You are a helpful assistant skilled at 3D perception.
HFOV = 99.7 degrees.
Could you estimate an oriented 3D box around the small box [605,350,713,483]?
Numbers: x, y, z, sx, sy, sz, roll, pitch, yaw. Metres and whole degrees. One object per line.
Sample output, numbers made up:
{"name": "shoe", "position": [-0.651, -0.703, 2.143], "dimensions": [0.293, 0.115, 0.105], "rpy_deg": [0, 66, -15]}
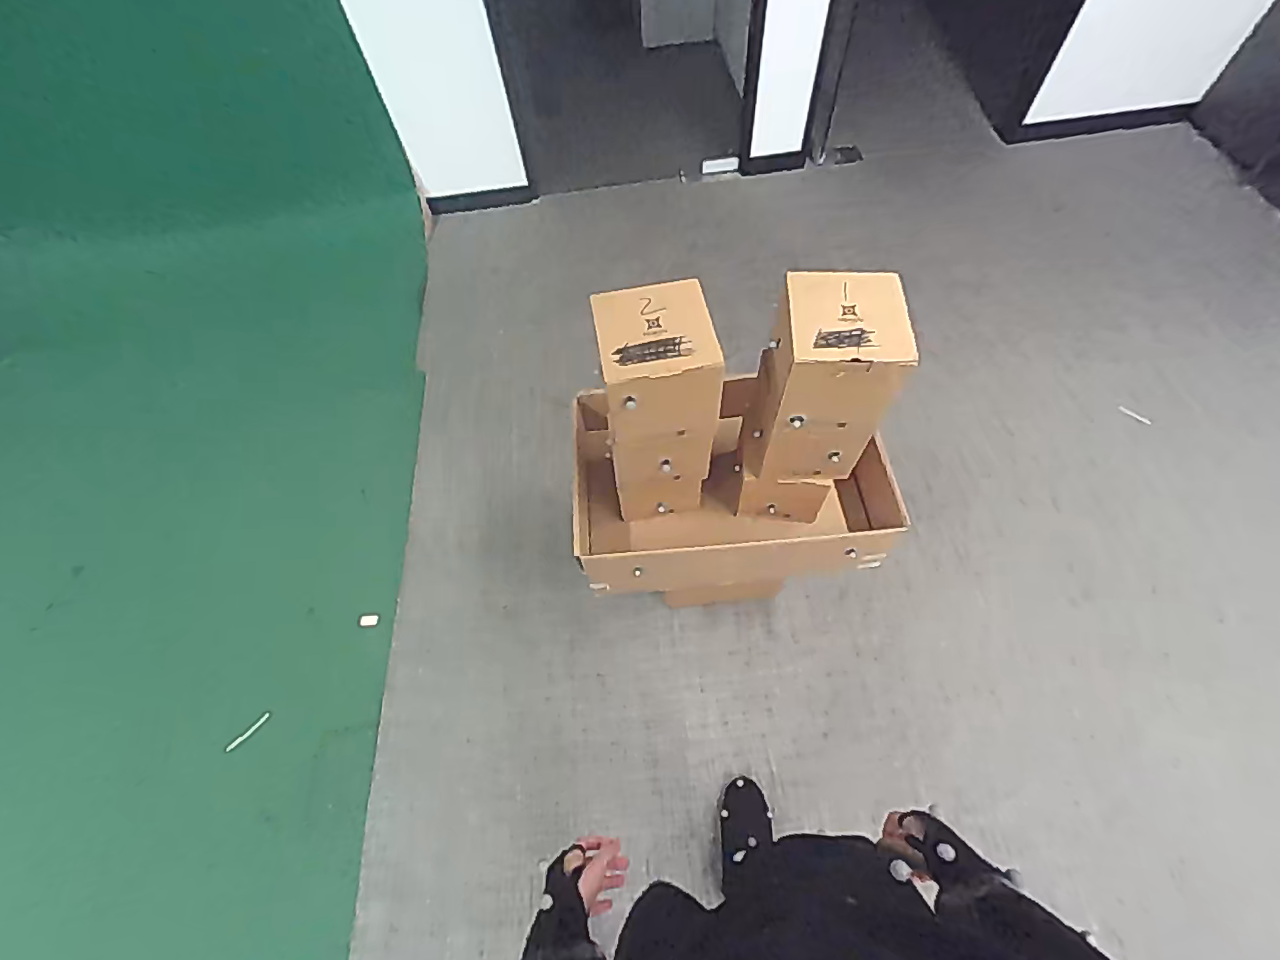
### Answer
{"name": "small box", "position": [0.033, -0.106, 0.977], "dimensions": [0.168, 0.176, 0.179], "rpy_deg": [-7, 61, -2]}

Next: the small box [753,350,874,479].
{"name": "small box", "position": [0.299, -0.113, 0.968], "dimensions": [0.168, 0.176, 0.179], "rpy_deg": [0, 61, 3]}

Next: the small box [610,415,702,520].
{"name": "small box", "position": [0.030, -0.037, 1.127], "dimensions": [0.168, 0.176, 0.179], "rpy_deg": [-8, 61, -1]}

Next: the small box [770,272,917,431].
{"name": "small box", "position": [0.296, -0.190, 0.825], "dimensions": [0.168, 0.176, 0.179], "rpy_deg": [3, 60, 4]}
